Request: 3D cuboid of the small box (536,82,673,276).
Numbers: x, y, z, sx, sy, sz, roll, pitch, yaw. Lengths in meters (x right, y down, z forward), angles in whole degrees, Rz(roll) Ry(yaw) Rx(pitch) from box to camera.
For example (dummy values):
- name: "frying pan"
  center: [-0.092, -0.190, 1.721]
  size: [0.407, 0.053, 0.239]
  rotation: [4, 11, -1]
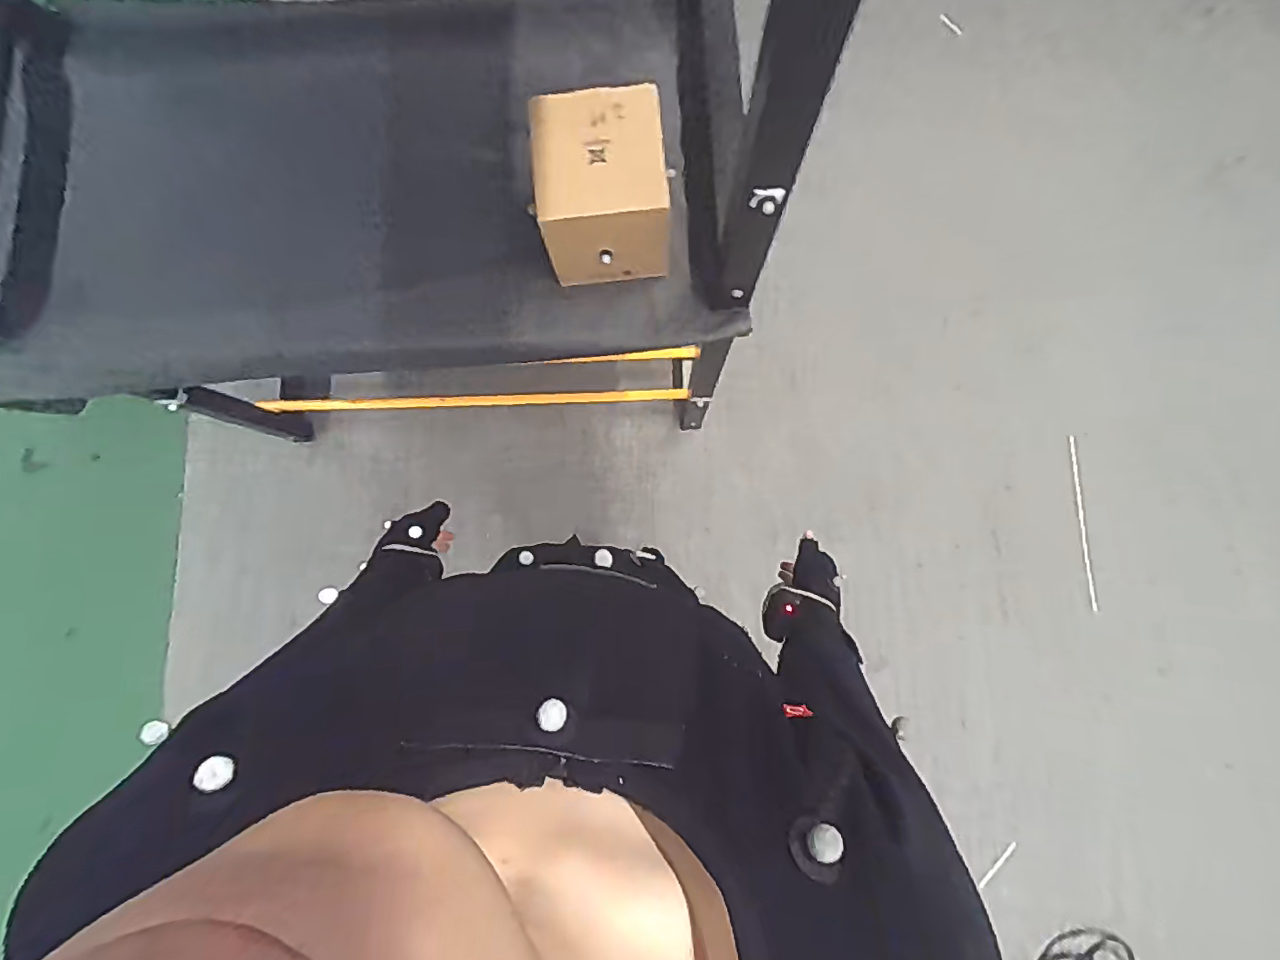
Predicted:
- name: "small box"
  center: [-0.042, -0.403, 0.756]
  size: [0.168, 0.176, 0.179]
  rotation: [-5, 82, 1]
